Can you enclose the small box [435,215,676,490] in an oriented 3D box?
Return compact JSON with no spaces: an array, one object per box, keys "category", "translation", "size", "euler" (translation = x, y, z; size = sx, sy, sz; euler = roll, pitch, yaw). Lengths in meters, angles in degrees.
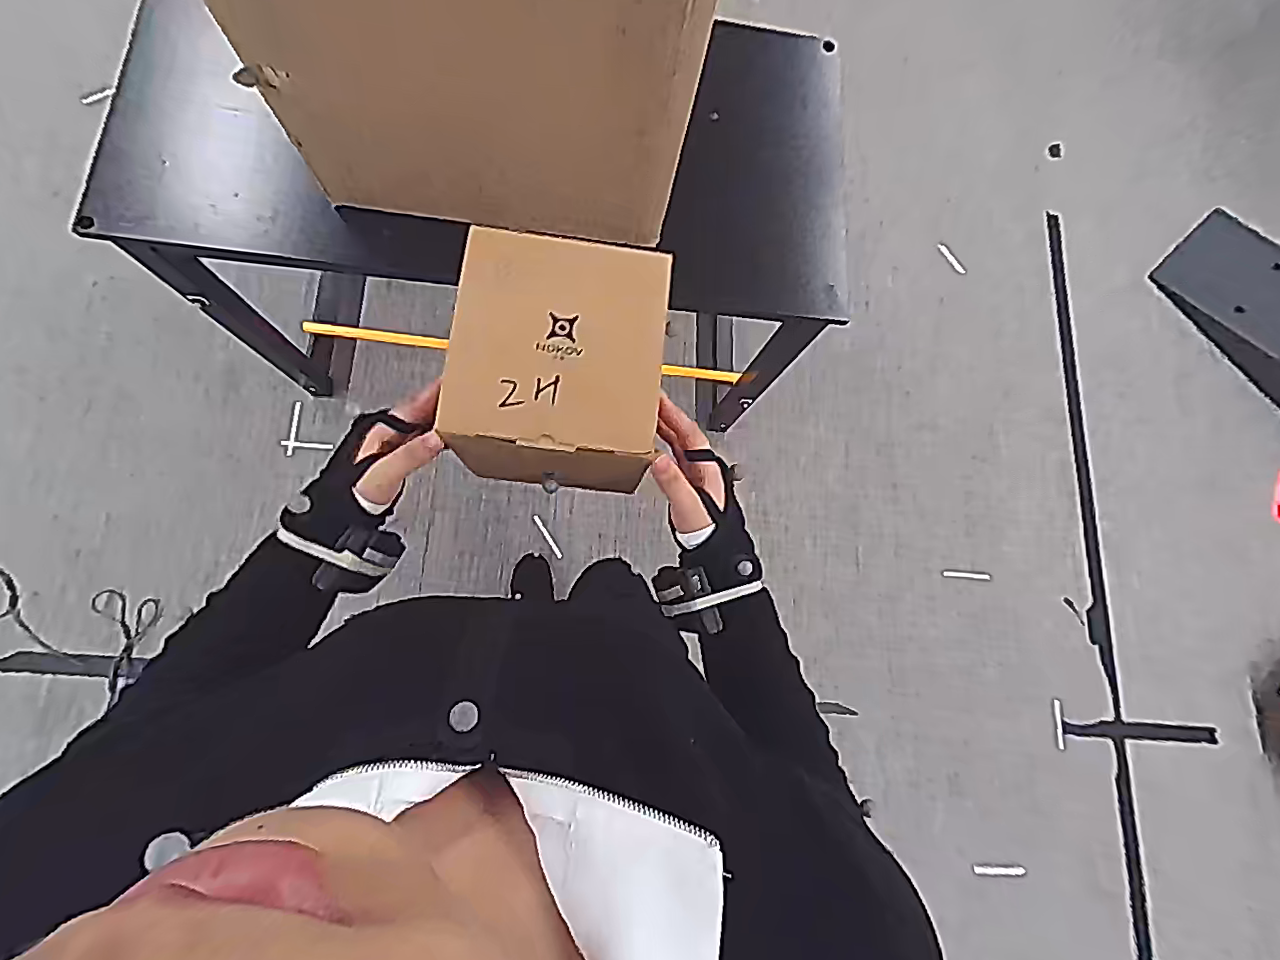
[{"category":"small box","translation":[-0.069,-0.100,0.494],"size":[0.168,0.176,0.179],"euler":[7,77,-4]}]
